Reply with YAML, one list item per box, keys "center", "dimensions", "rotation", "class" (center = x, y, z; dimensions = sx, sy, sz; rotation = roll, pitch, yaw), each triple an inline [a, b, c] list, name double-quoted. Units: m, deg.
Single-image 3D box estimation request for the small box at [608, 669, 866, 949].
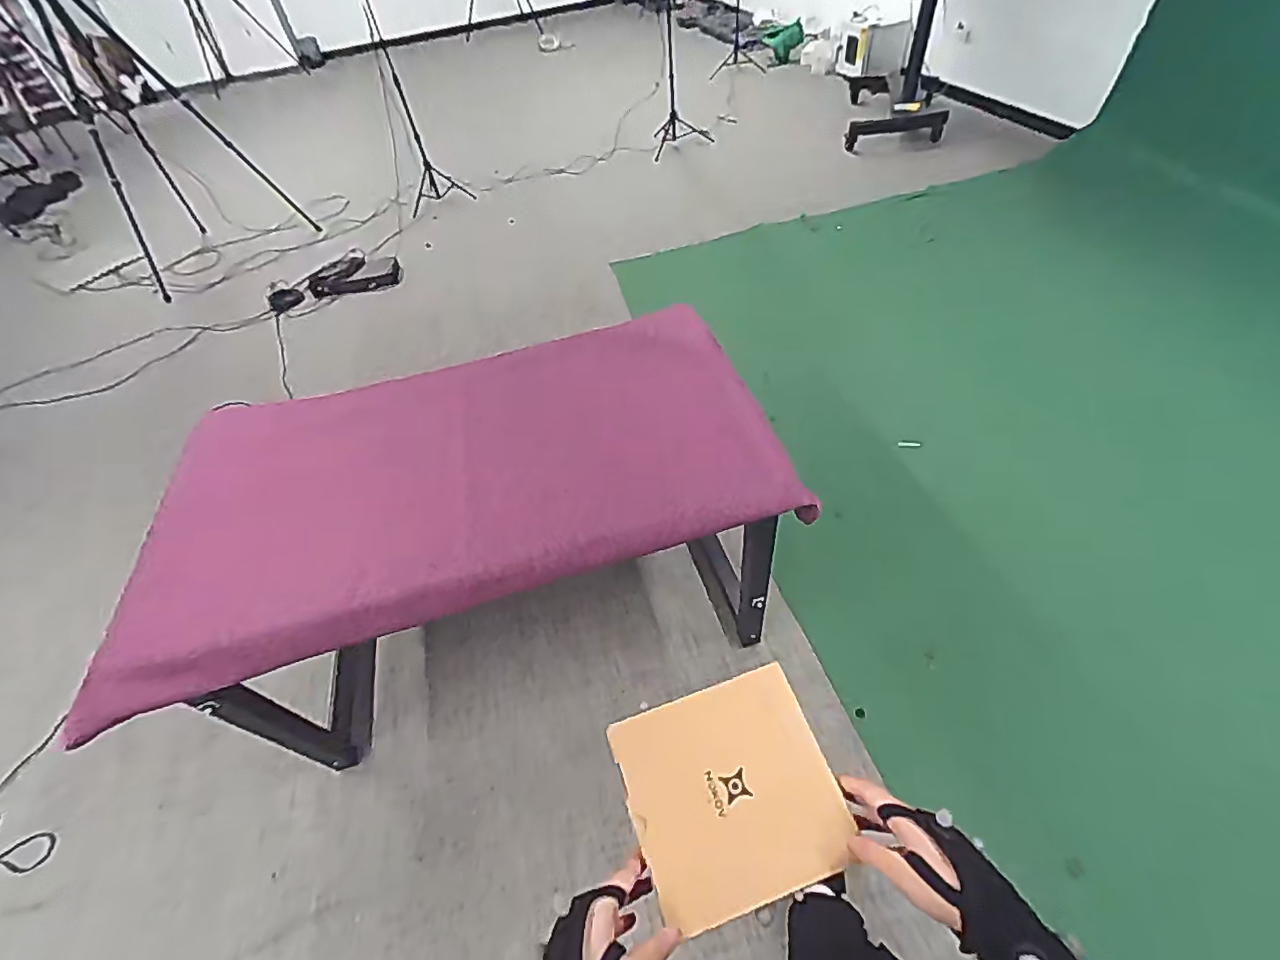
- center: [0.083, 0.311, 0.534]
  dimensions: [0.179, 0.176, 0.168]
  rotation: [-20, 58, -6]
  class: "small box"
